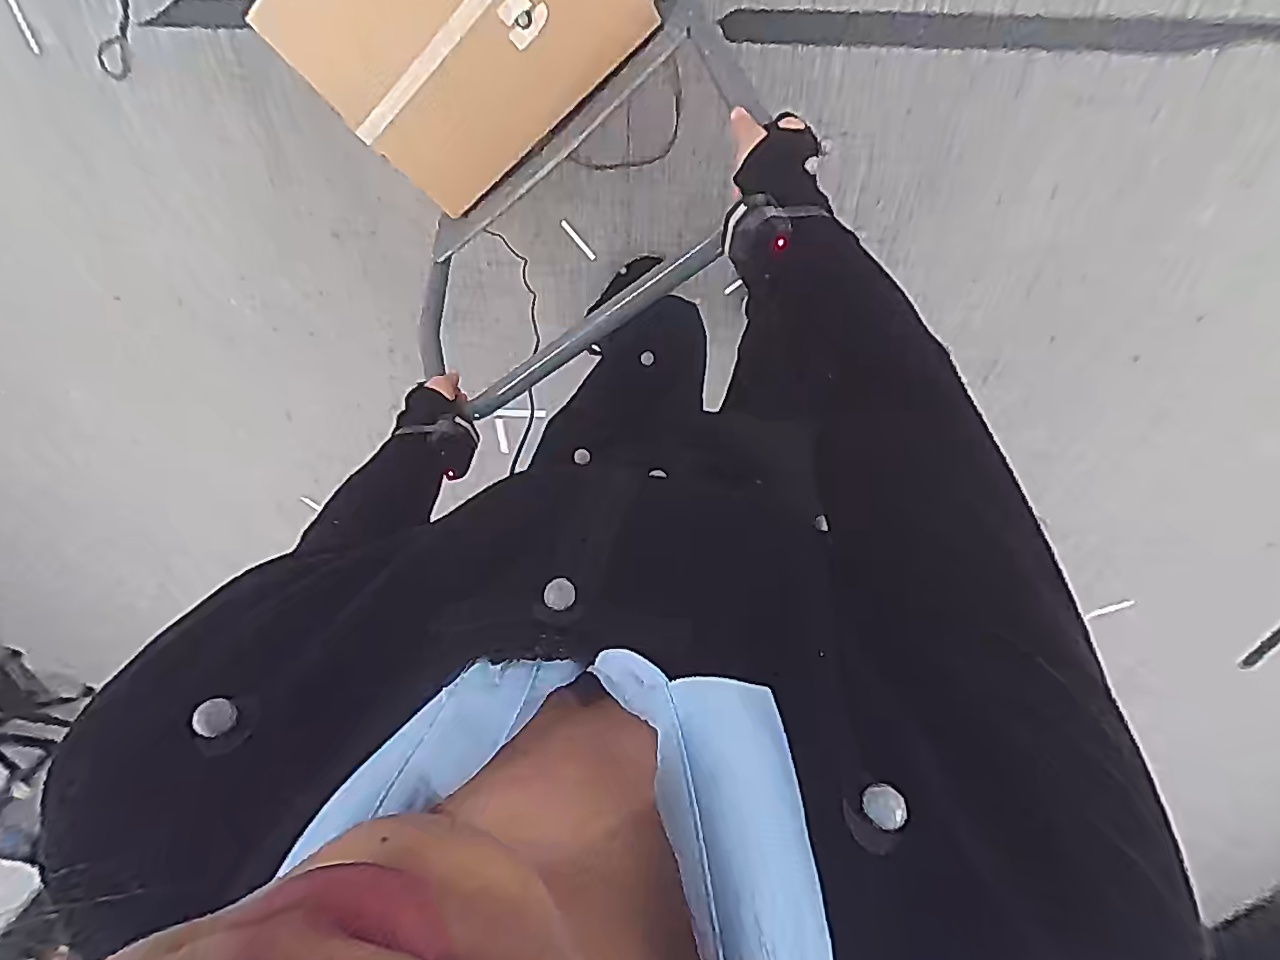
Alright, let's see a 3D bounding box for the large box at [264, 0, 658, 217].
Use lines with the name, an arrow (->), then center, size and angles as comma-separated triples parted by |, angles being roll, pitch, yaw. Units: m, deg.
large box -> -0.235, -0.685, 0.772 | 0.408, 0.320, 0.320 | -30, 136, 25
